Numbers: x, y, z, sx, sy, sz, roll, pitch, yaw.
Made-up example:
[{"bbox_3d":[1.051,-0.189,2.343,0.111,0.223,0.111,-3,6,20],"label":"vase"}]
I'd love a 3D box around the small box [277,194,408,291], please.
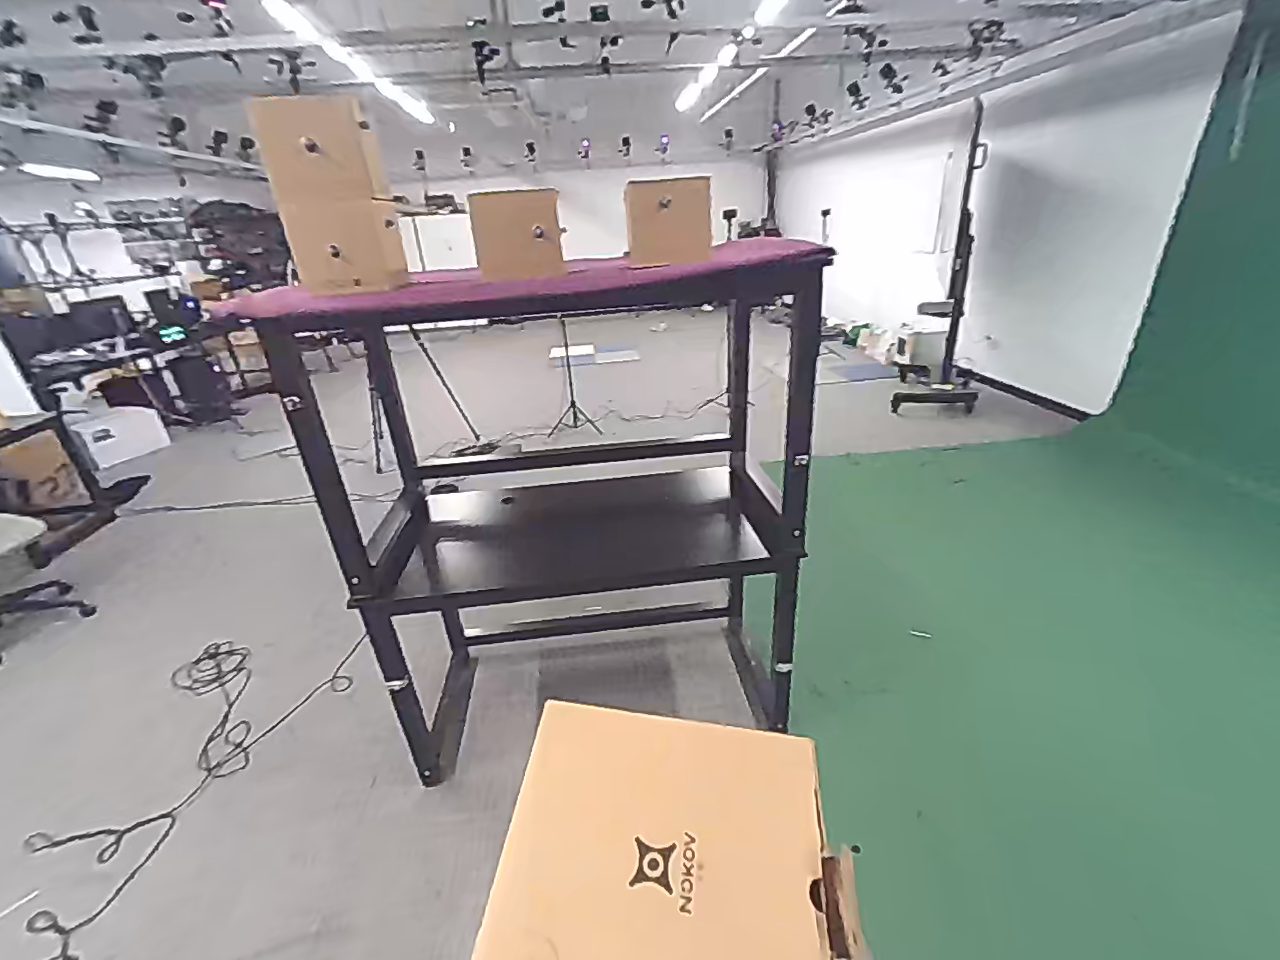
[{"bbox_3d":[-0.592,-0.483,1.105,0.168,0.176,0.179,-6,26,-6],"label":"small box"}]

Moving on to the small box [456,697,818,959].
[{"bbox_3d":[0.005,0.266,0.344,0.179,0.176,0.168,5,40,6],"label":"small box"}]

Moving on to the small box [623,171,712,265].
[{"bbox_3d":[0.060,-0.576,1.204,0.179,0.176,0.168,-5,24,-2],"label":"small box"}]

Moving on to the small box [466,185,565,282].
[{"bbox_3d":[-0.256,-0.528,1.160,0.179,0.176,0.168,-8,26,-5],"label":"small box"}]
